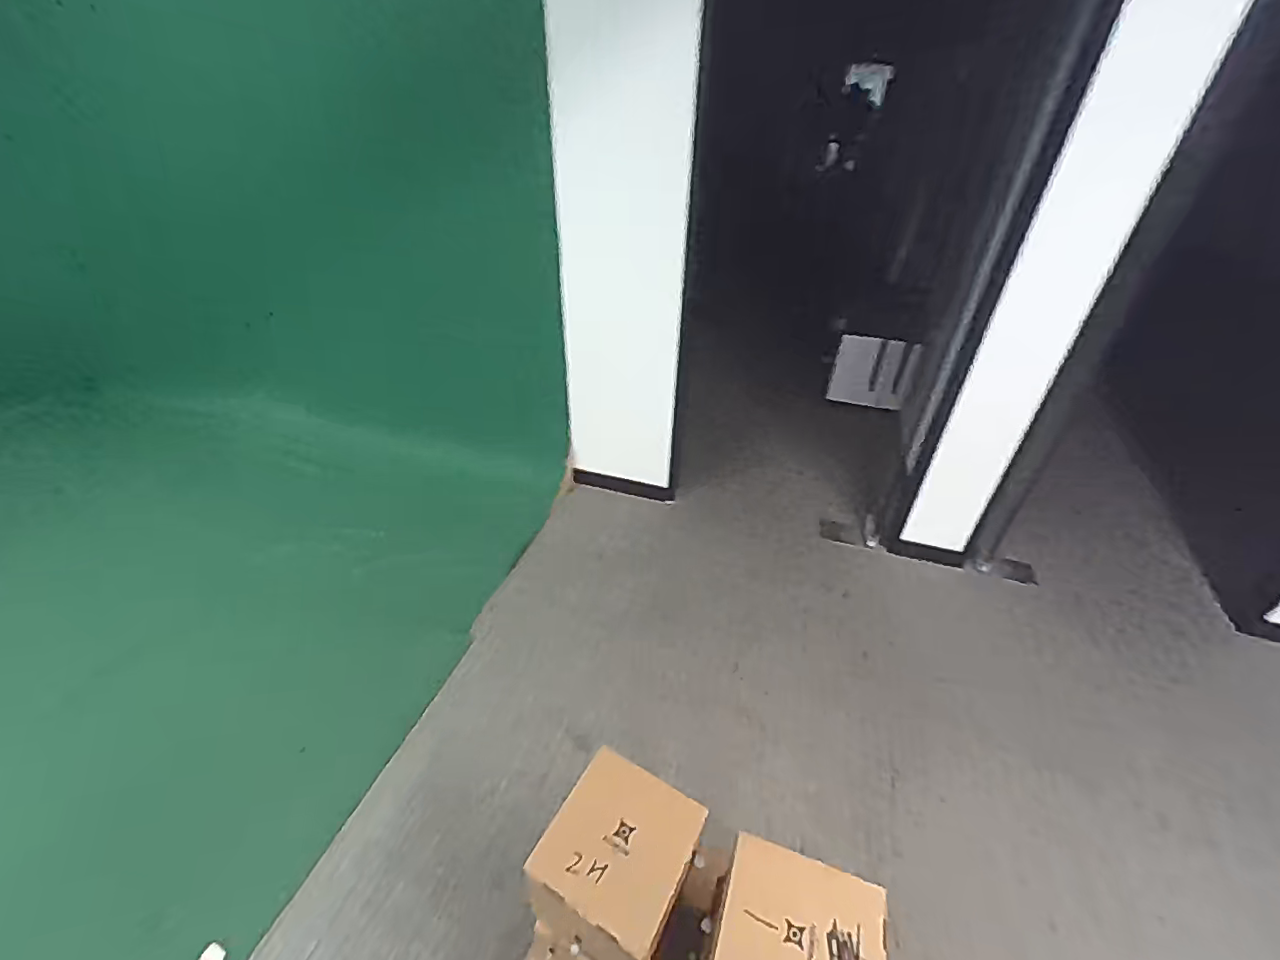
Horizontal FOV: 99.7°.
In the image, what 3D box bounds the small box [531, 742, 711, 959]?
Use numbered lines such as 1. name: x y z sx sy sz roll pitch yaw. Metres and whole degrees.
1. small box: -0.024 0.500 0.718 0.168 0.176 0.179 21 41 23
